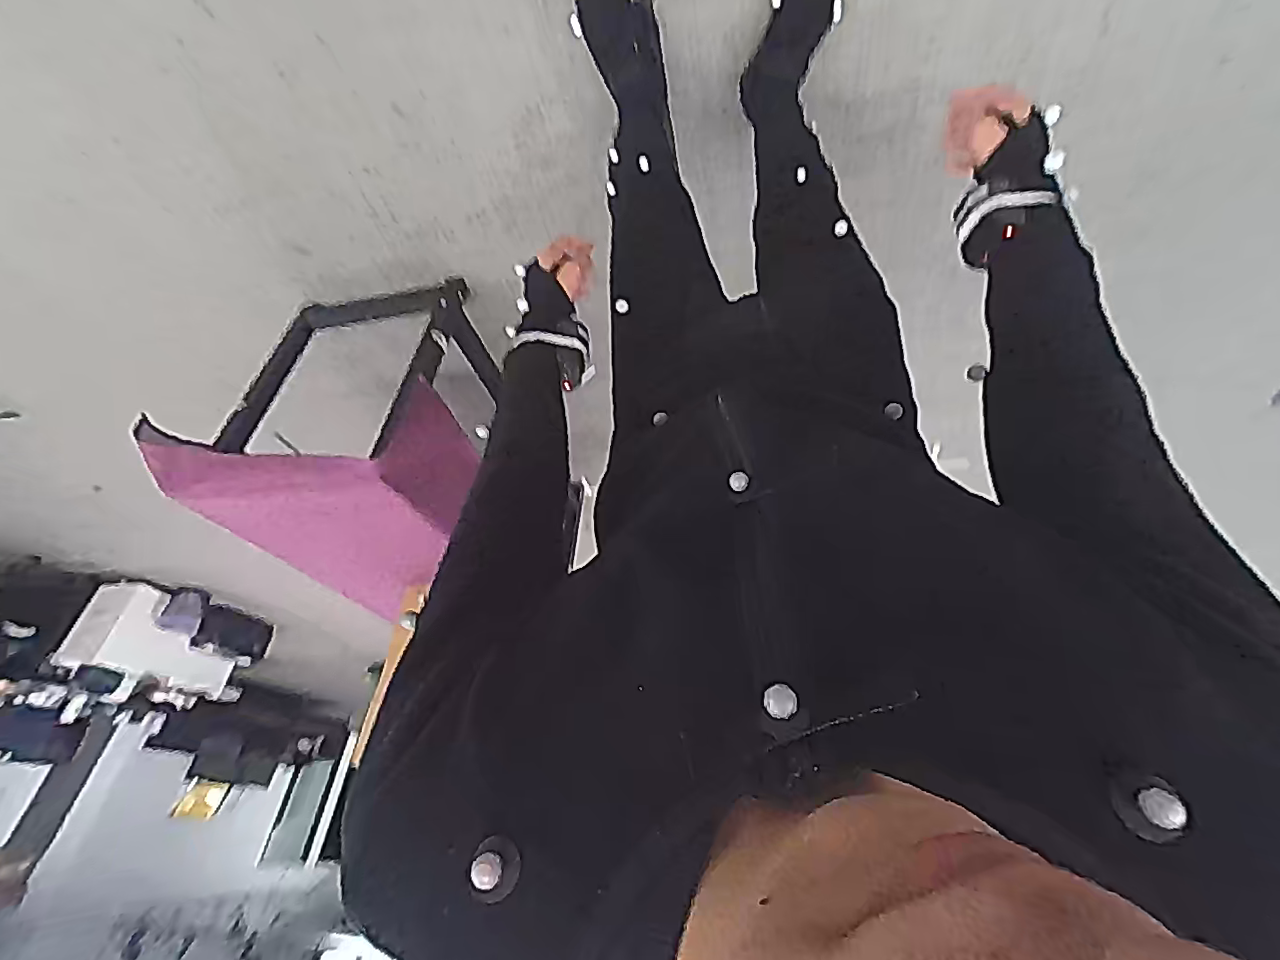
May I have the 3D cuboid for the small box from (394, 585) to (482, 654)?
[{"bbox_3d":[-0.622,0.440,1.690,0.168,0.176,0.179,-11,143,22],"label":"small box"}]
